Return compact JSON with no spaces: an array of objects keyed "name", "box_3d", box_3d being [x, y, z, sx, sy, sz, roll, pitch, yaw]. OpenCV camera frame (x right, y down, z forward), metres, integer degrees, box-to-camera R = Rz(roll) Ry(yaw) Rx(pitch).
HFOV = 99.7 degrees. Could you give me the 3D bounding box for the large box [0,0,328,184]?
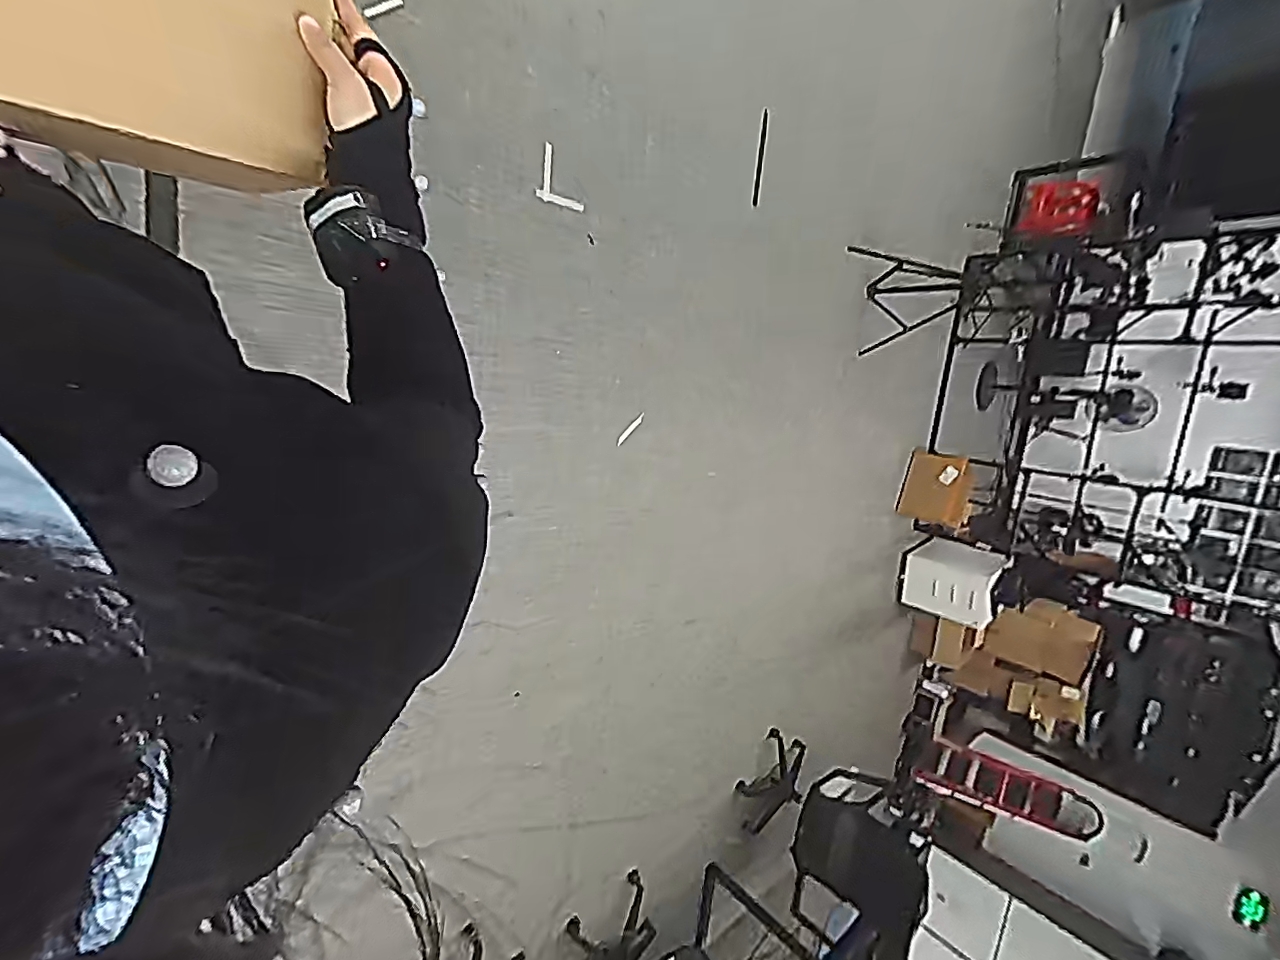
[{"name":"large box","box_3d":[-0.494,-0.439,0.397,0.408,0.320,0.320,-7,113,-44]}]
